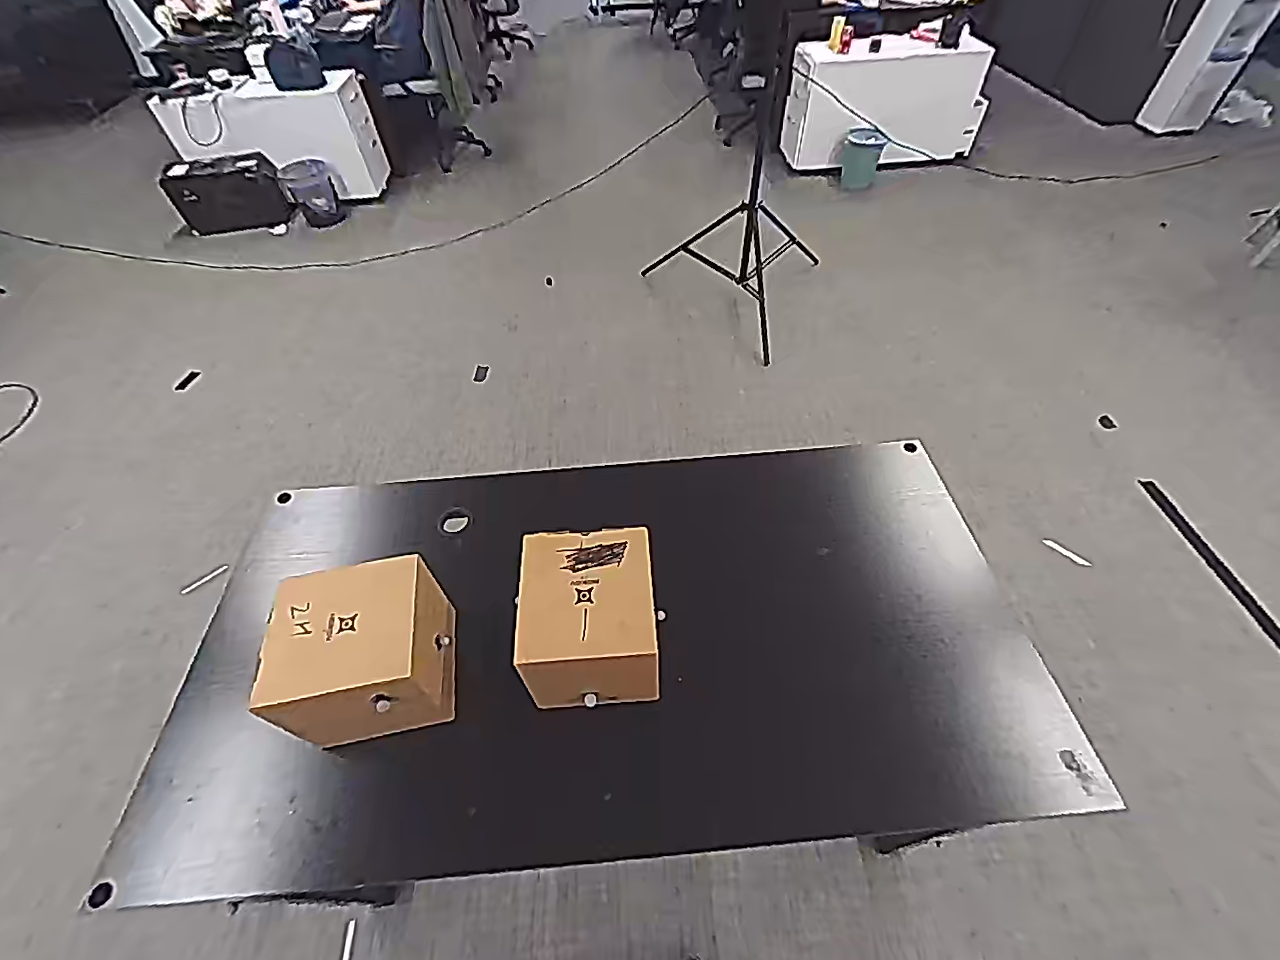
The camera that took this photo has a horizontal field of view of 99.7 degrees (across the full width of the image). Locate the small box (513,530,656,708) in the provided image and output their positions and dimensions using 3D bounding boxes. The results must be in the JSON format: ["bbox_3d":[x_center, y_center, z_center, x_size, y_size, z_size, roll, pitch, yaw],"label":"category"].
[{"bbox_3d":[-0.066,0.189,0.729,0.168,0.176,0.179,-4,52,0],"label":"small box"}]

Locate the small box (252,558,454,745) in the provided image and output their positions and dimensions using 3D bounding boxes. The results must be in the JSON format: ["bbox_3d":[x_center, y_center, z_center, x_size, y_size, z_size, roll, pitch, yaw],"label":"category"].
[{"bbox_3d":[-0.353,0.228,0.710,0.179,0.176,0.168,-11,51,-6],"label":"small box"}]
